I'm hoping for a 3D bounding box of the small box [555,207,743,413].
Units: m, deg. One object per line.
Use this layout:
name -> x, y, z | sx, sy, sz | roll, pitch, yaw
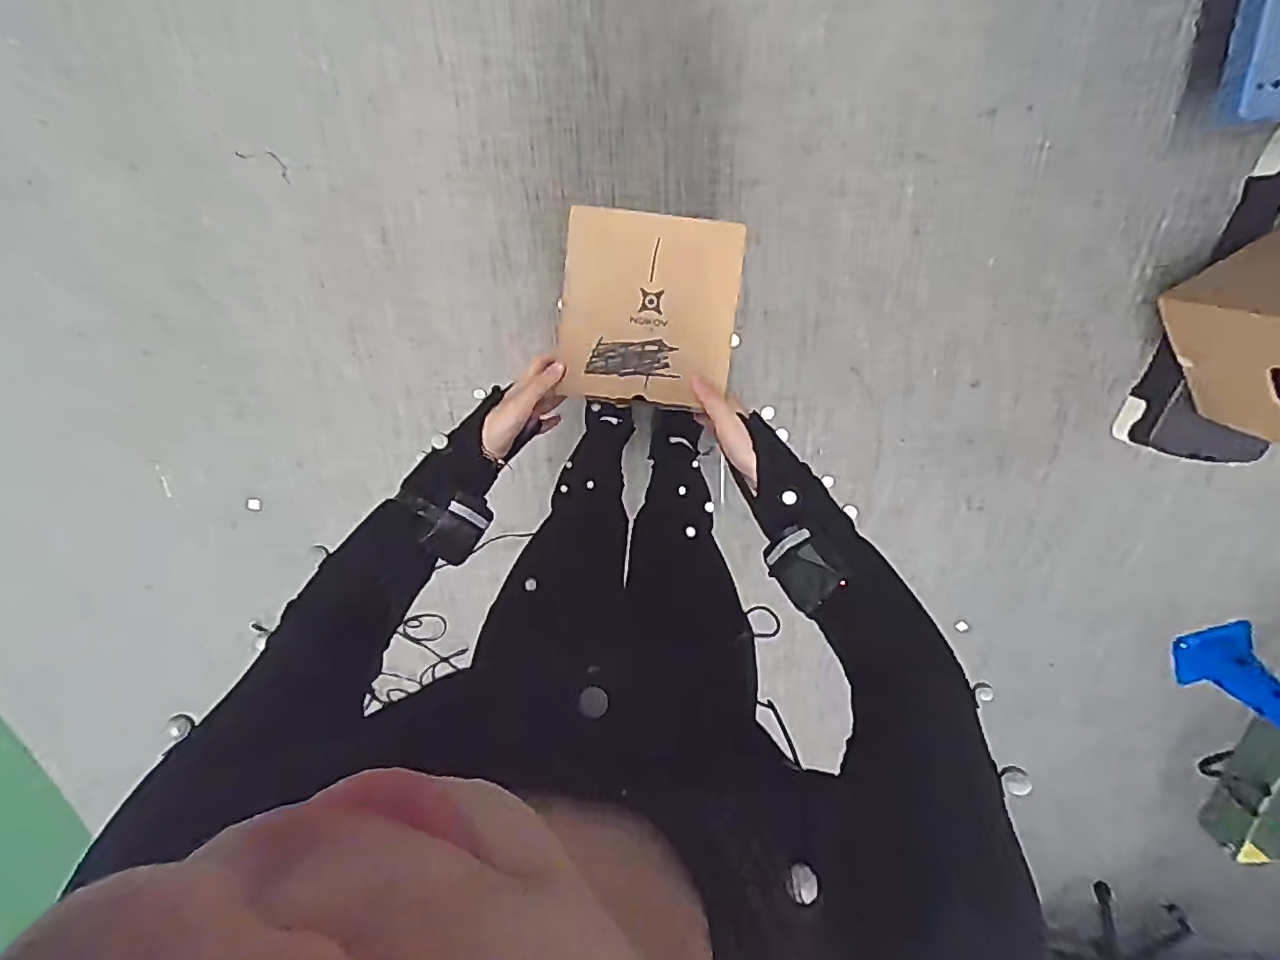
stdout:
small box -> 0.007, -0.171, 0.595 | 0.168, 0.176, 0.179 | 6, 97, -2
